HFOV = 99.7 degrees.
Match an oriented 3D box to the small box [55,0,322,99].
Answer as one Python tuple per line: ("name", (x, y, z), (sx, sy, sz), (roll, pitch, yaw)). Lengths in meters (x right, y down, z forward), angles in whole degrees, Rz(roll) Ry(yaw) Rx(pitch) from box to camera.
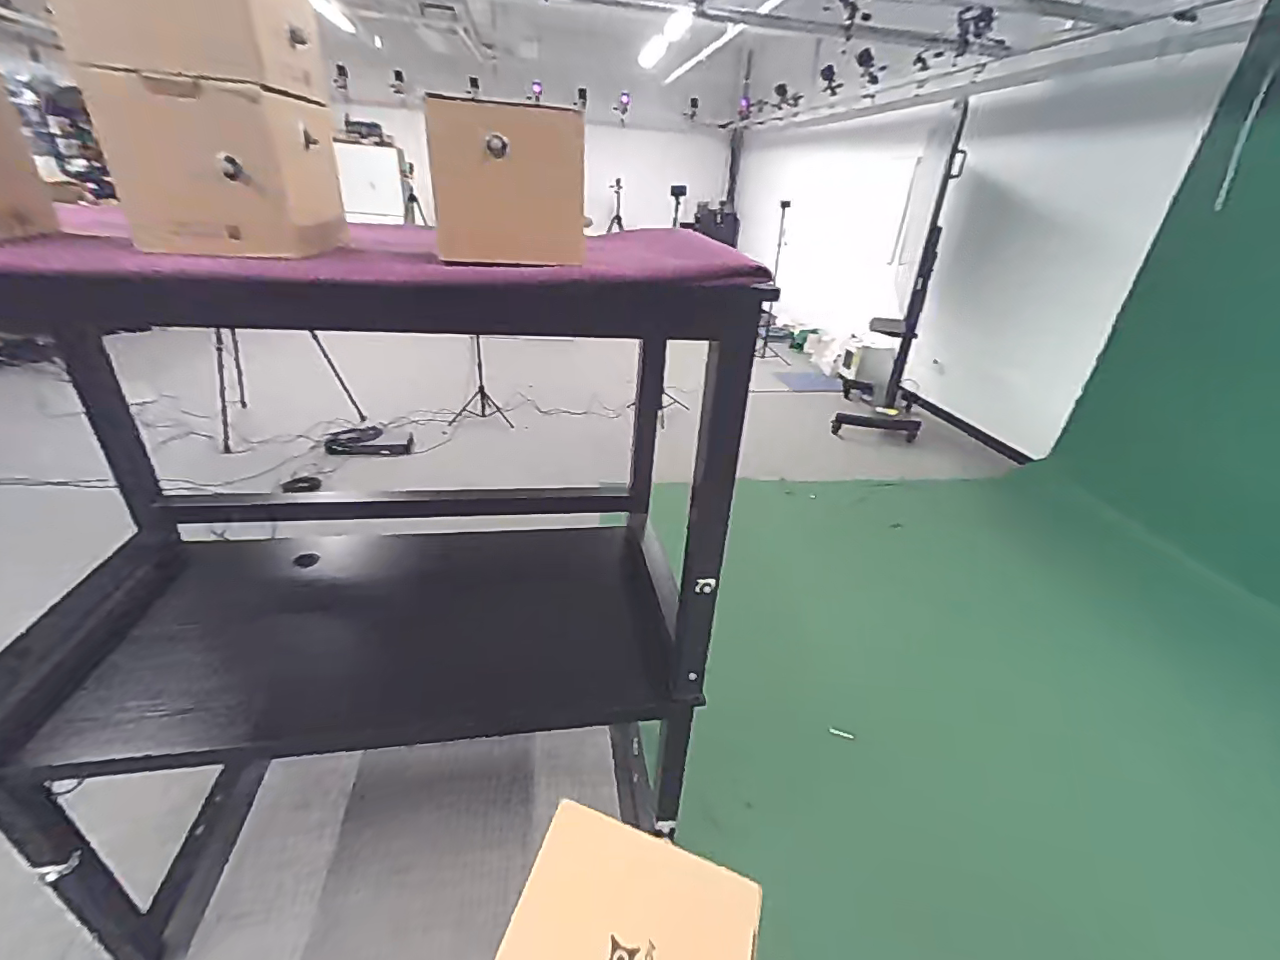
("small box", (-0.460, -0.507, 0.552), (0.179, 0.176, 0.168), (1, 29, -9))

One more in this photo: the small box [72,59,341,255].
("small box", (-0.471, -0.361, 0.628), (0.168, 0.176, 0.179), (0, 28, -9))

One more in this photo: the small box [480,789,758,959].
("small box", (-0.027, 0.385, 0.417), (0.179, 0.176, 0.168), (19, 38, 8))

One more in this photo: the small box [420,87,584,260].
("small box", (-0.165, -0.376, 0.689), (0.179, 0.176, 0.168), (-2, 27, -10))
